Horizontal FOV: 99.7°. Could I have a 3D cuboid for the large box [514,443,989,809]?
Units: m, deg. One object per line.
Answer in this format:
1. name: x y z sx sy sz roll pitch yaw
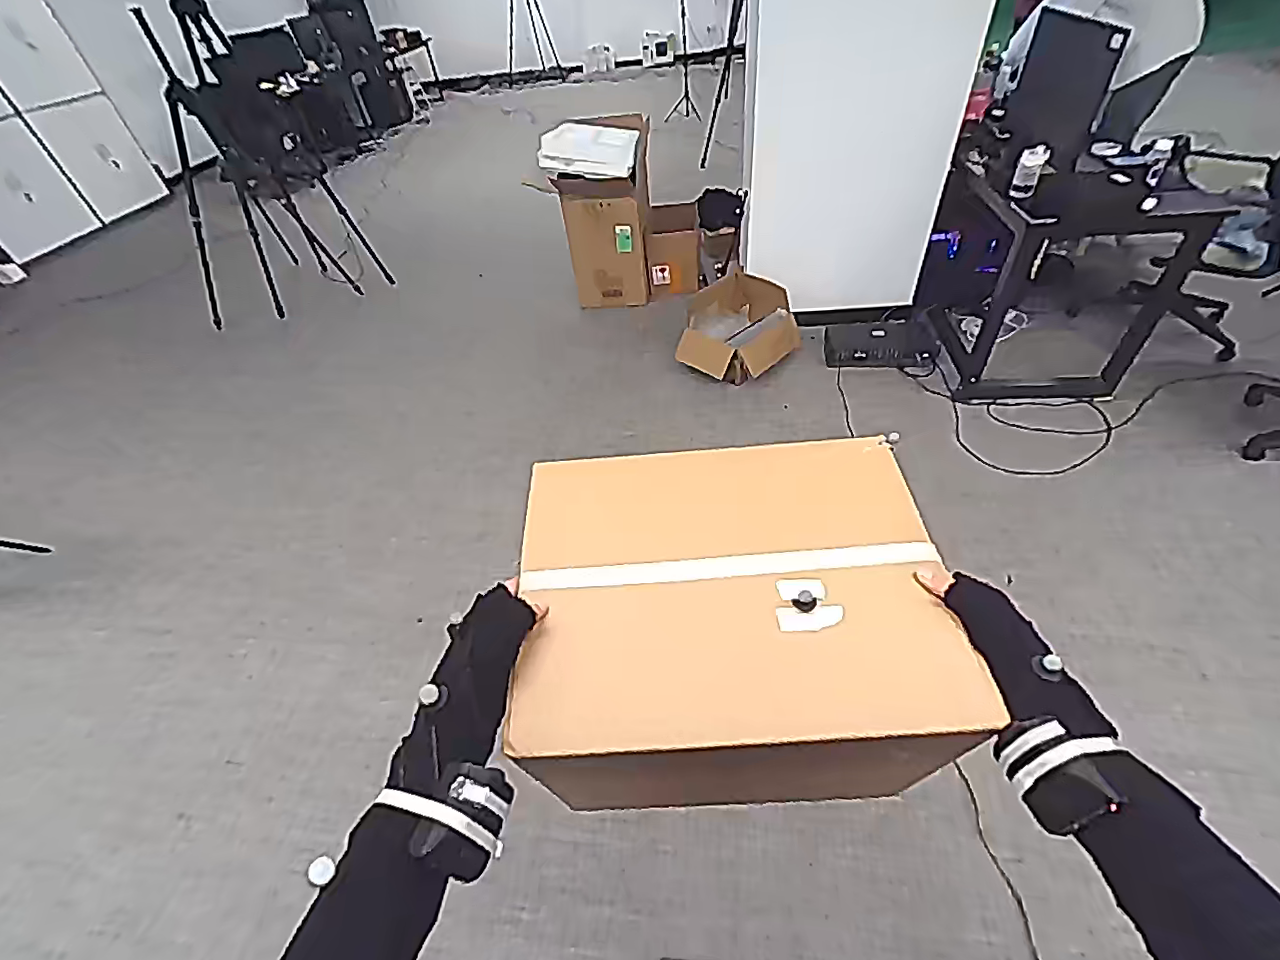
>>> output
1. large box: 0.093 0.185 0.654 0.408 0.320 0.320 -4 51 2
